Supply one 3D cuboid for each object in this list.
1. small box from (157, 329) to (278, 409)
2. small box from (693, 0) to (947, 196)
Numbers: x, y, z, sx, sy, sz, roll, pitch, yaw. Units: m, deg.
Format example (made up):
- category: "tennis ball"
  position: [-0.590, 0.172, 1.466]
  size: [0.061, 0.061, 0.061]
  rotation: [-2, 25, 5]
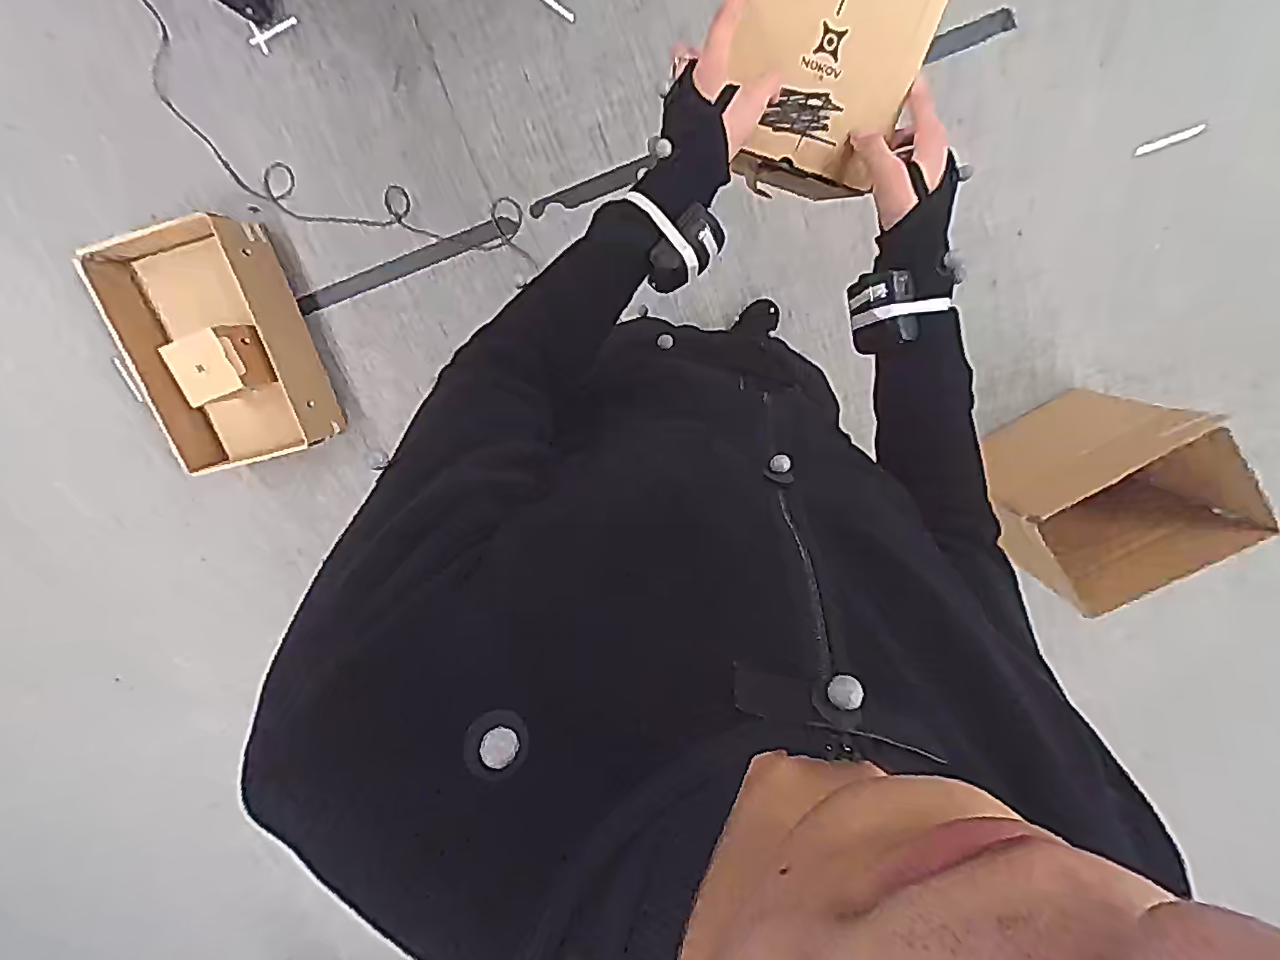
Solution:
- category: "small box"
  position: [-1.141, -0.311, 1.485]
  size: [0.179, 0.176, 0.168]
  rotation: [-18, 105, 8]
- category: "small box"
  position: [0.155, -0.392, 0.525]
  size: [0.168, 0.176, 0.179]
  rotation: [14, 114, -7]
